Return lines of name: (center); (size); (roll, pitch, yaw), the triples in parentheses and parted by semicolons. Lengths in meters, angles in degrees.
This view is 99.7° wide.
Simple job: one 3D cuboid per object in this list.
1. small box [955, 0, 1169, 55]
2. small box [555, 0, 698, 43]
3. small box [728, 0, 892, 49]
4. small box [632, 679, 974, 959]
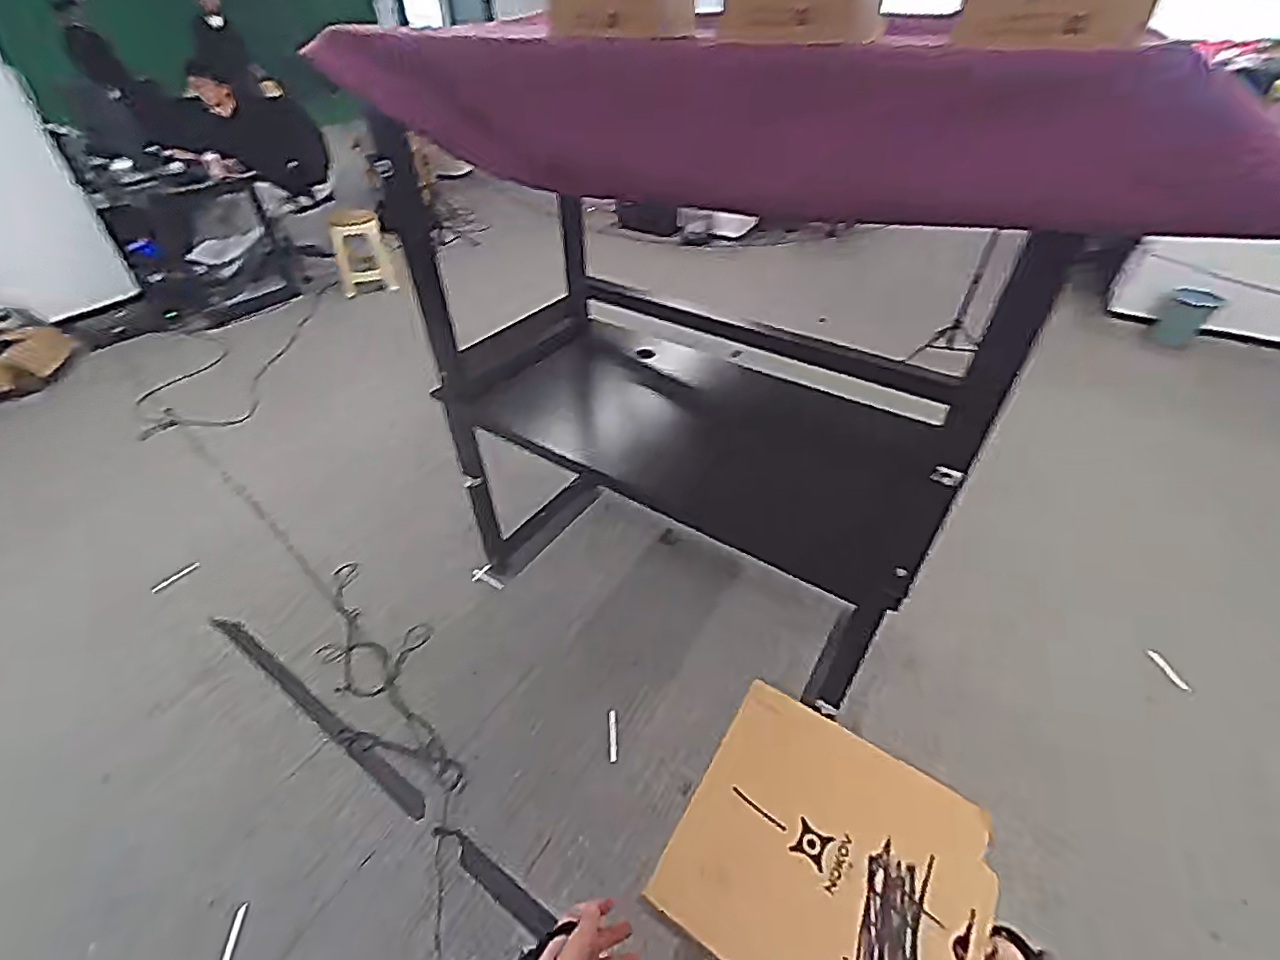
small box: (0.425, -0.524, 0.522); (0.168, 0.176, 0.179); (18, 43, 21)
small box: (-0.016, -0.719, 0.753); (0.168, 0.176, 0.179); (16, 43, 18)
small box: (0.214, -0.625, 0.645); (0.168, 0.176, 0.179); (21, 45, 22)
small box: (0.109, 0.291, 0.411); (0.179, 0.176, 0.168); (27, 54, 18)
